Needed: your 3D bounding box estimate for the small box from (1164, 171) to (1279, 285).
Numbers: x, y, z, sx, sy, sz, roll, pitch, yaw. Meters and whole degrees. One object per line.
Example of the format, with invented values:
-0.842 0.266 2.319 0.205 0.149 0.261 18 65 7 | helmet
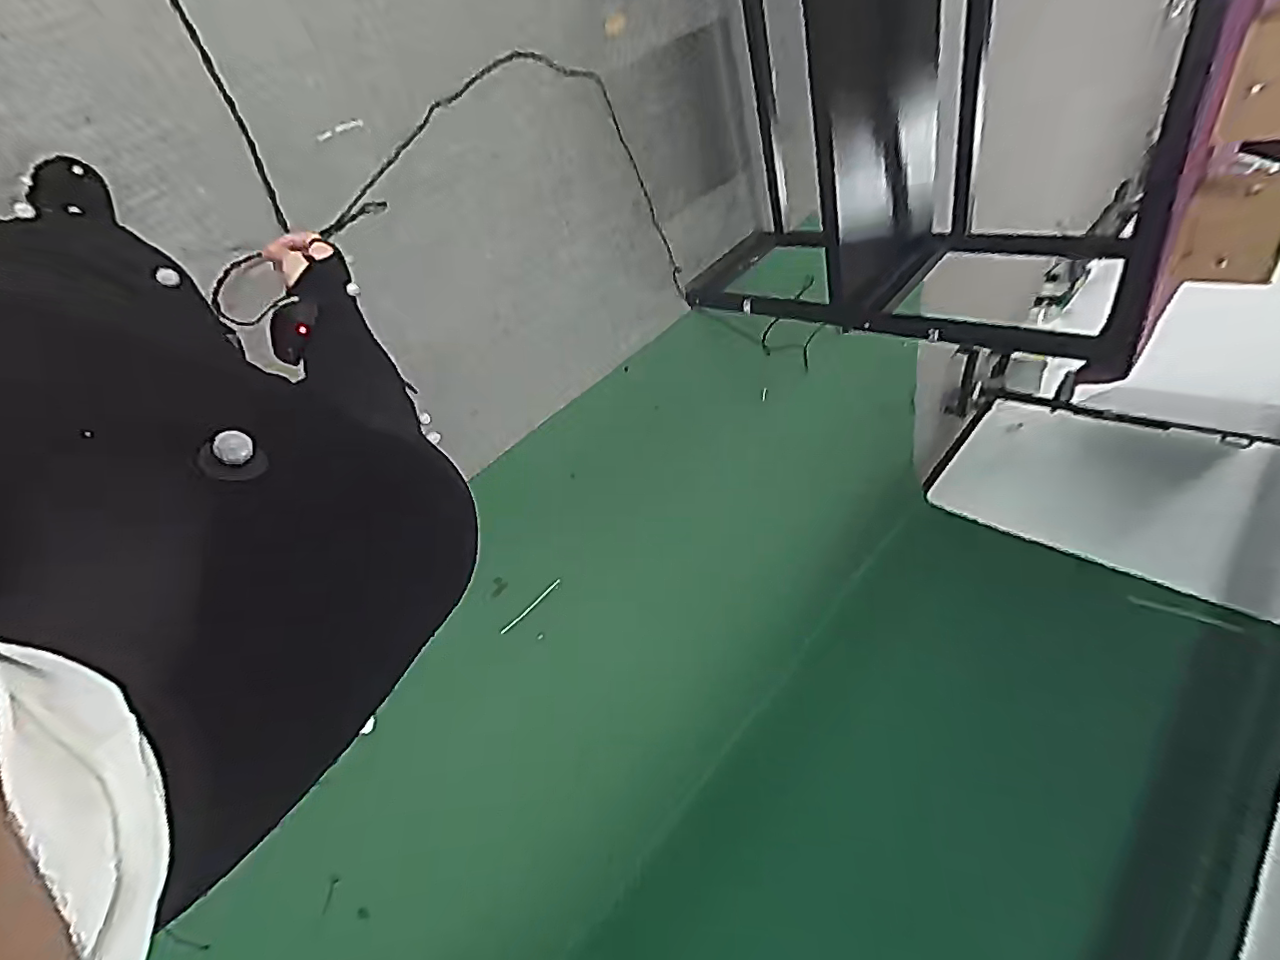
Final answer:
1.232 -0.520 1.117 0.179 0.176 0.168 -40 133 -25 | small box
